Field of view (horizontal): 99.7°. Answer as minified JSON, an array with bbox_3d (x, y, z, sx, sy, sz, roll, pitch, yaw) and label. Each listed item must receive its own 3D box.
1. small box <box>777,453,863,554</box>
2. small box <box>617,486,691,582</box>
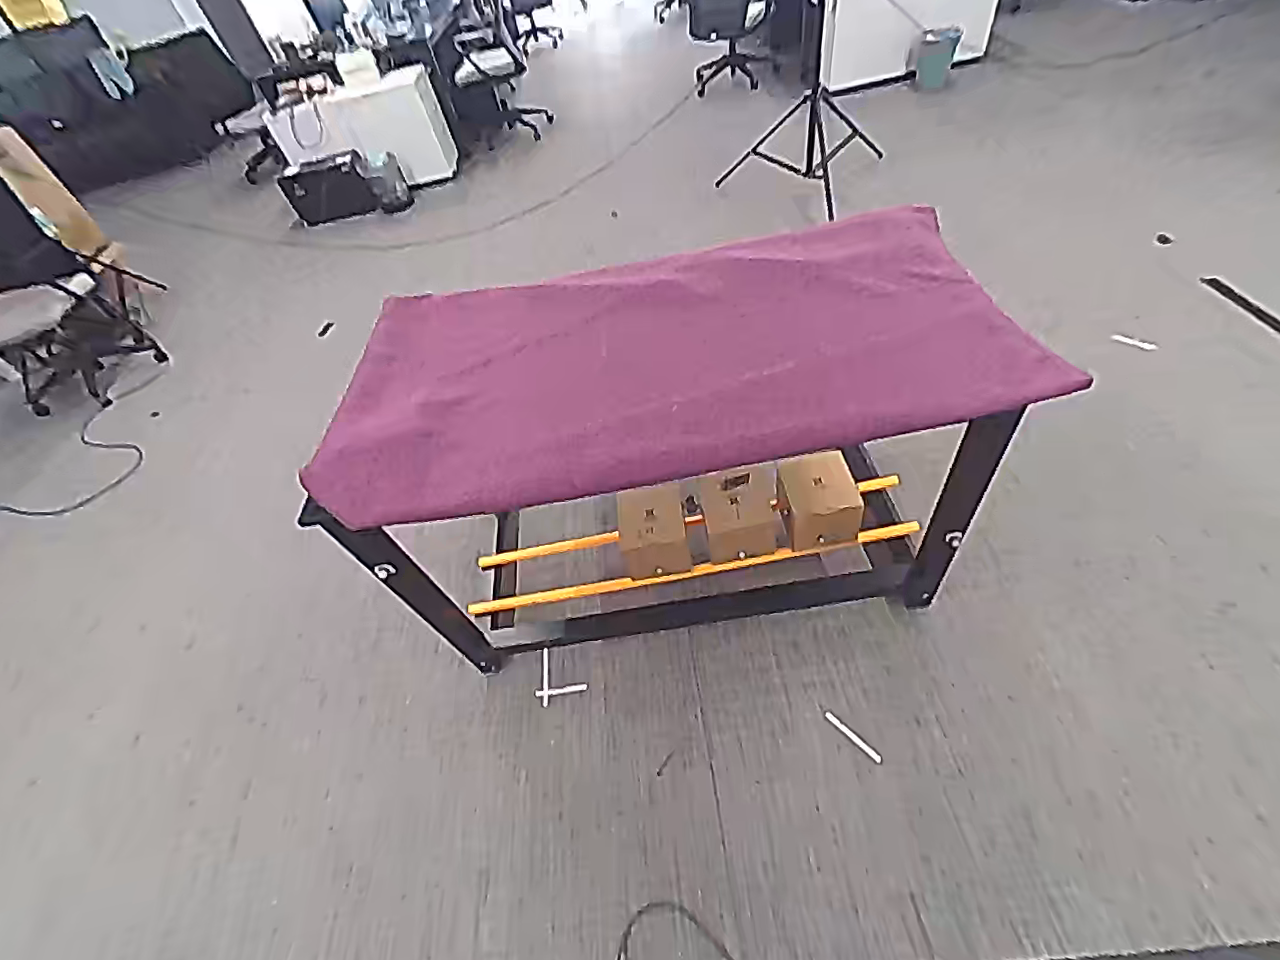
[{"bbox_3d":[0.449,0.062,1.380,0.168,0.176,0.179,-12,50,5],"label":"small box"},{"bbox_3d":[0.036,0.144,1.408,0.168,0.176,0.179,-9,51,5],"label":"small box"}]
